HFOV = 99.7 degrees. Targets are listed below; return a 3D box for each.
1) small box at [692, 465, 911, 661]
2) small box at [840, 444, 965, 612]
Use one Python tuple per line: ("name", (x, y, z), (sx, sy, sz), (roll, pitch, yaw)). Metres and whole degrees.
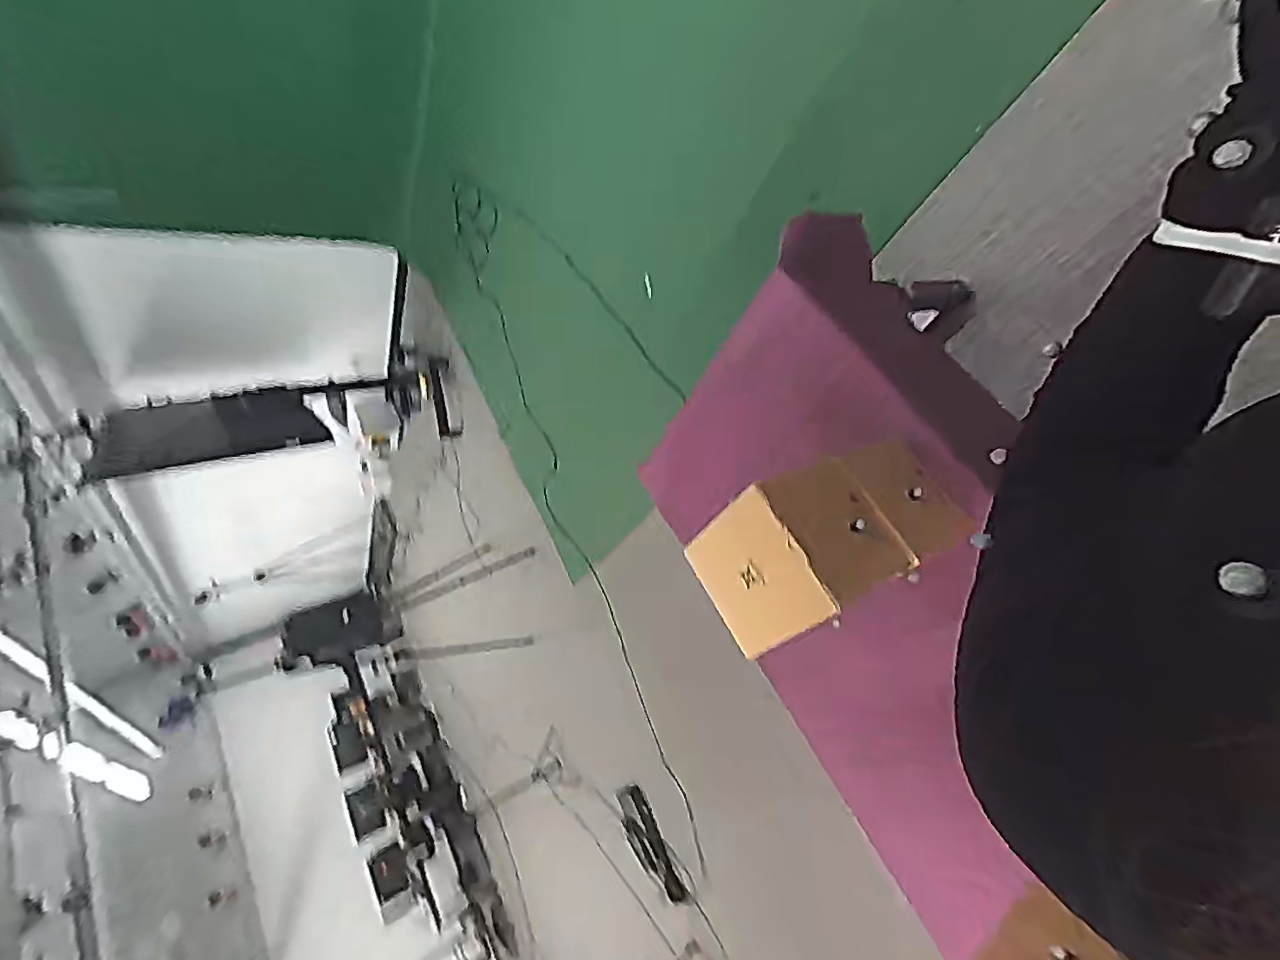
("small box", (0.205, 0.104, 0.701), (0.168, 0.176, 0.179), (58, 139, 20))
("small box", (0.337, 0.068, 0.791), (0.168, 0.176, 0.179), (58, 141, 20))
